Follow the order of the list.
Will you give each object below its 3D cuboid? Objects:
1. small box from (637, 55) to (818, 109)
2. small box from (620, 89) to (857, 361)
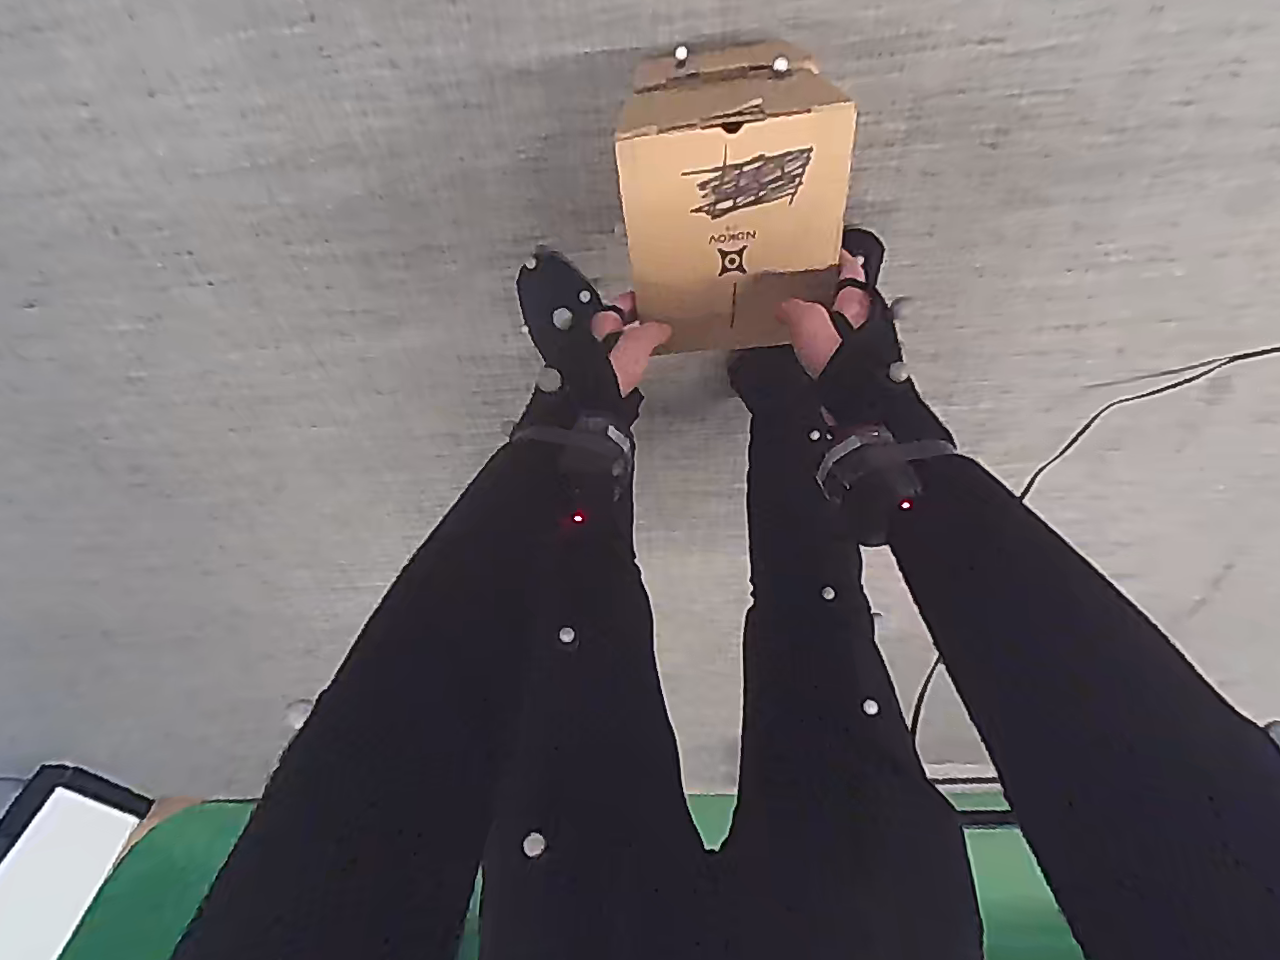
[{"bbox_3d":[0.088,-0.347,0.596,0.168,0.176,0.179,-3,134,7],"label":"small box"},{"bbox_3d":[0.077,-0.229,0.482,0.168,0.176,0.179,-3,133,7],"label":"small box"}]
